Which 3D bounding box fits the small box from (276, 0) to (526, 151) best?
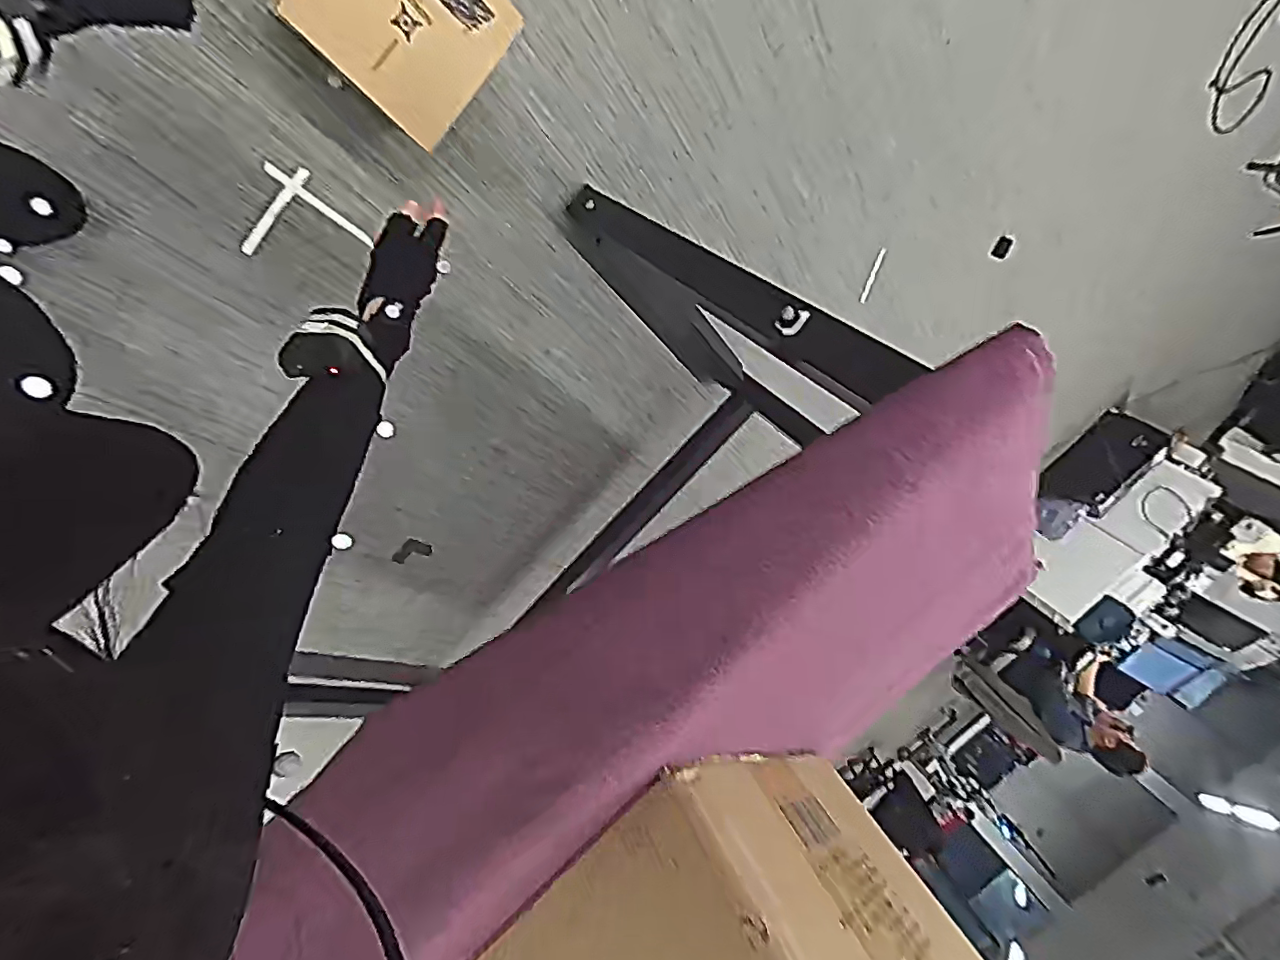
[{"bbox_3d":[-0.262,-0.503,0.581,0.179,0.176,0.168,-47,140,7],"label":"small box"}]
